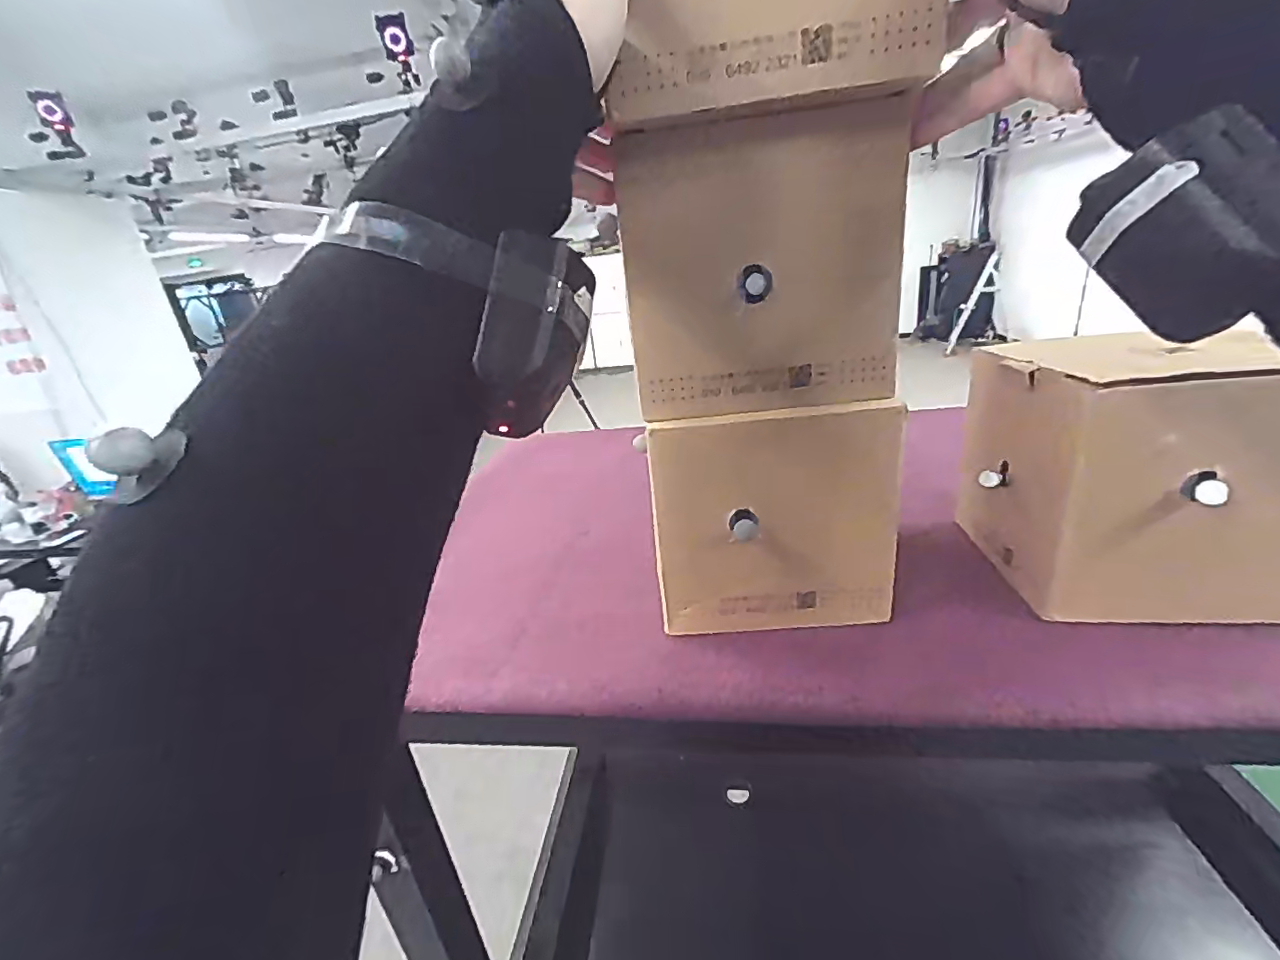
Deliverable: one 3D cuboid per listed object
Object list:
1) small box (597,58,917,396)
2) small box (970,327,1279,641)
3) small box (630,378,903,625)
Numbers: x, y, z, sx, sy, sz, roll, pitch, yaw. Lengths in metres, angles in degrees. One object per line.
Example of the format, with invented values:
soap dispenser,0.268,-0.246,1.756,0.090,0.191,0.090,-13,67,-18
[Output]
small box,0.071,-0.157,0.379,0.168,0.176,0.179,-3,22,5
small box,0.354,-0.006,0.378,0.179,0.176,0.168,-2,22,11
small box,0.088,0.000,0.427,0.168,0.176,0.179,-4,22,5
